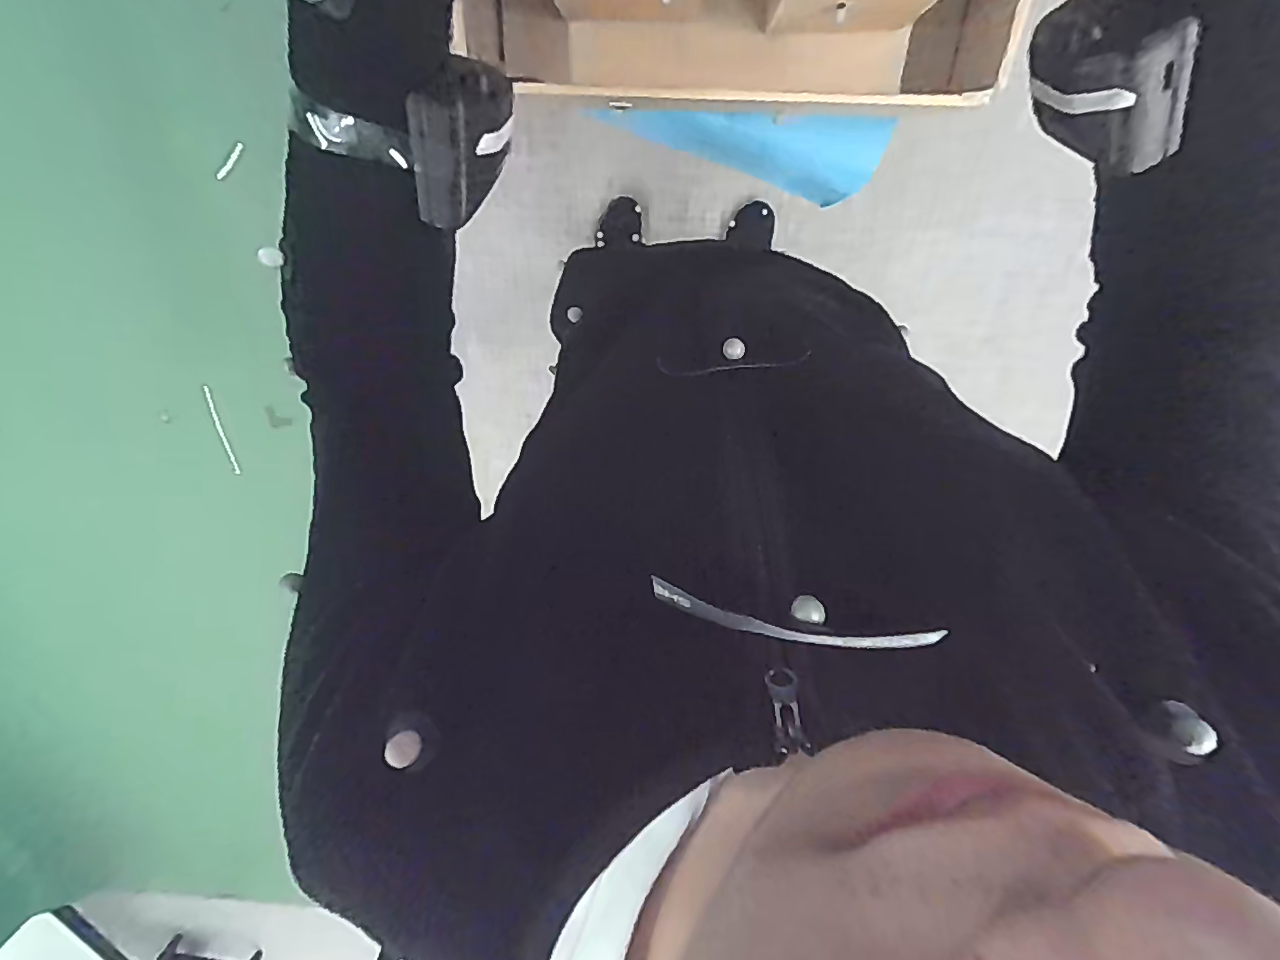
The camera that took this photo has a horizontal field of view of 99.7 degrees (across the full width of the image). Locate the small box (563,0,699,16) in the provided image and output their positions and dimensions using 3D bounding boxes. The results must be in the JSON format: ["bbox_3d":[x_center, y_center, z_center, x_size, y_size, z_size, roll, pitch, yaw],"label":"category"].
[{"bbox_3d":[-0.013,-0.631,0.586,0.179,0.176,0.168,1,118,0],"label":"small box"}]

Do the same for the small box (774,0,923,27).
[{"bbox_3d":[0.241,-0.610,0.575,0.179,0.176,0.168,1,118,7],"label":"small box"}]
